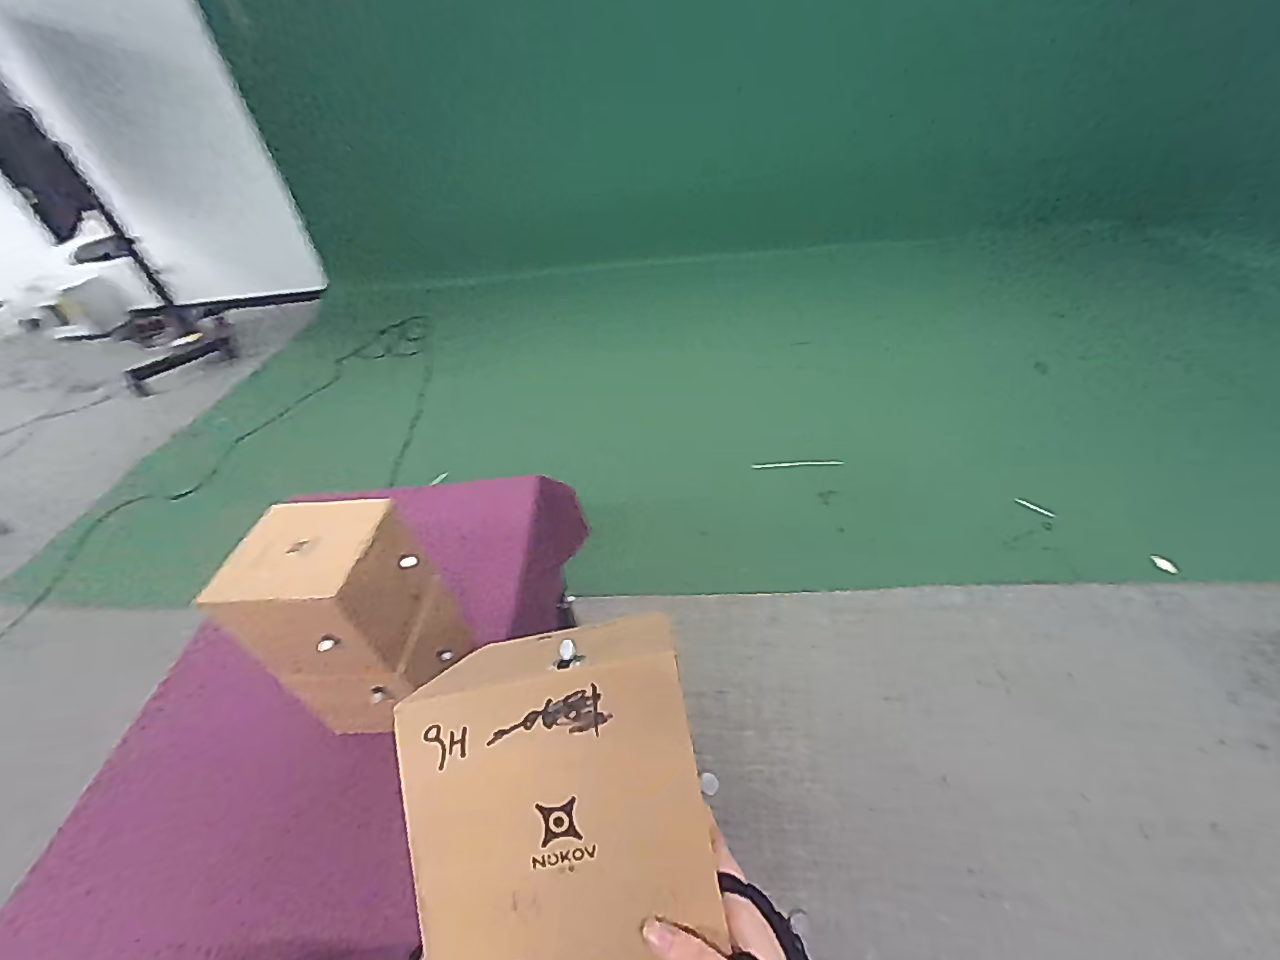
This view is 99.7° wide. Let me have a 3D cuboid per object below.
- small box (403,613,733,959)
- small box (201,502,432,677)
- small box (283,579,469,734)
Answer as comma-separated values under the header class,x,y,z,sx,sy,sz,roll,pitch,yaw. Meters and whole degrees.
class,x,y,z,sx,sy,sz,roll,pitch,yaw
small box,-0.039,0.204,0.380,0.168,0.176,0.179,-11,84,0
small box,-0.409,0.149,0.726,0.179,0.176,0.168,-4,40,7
small box,-0.385,0.272,0.831,0.179,0.176,0.168,-5,40,6
